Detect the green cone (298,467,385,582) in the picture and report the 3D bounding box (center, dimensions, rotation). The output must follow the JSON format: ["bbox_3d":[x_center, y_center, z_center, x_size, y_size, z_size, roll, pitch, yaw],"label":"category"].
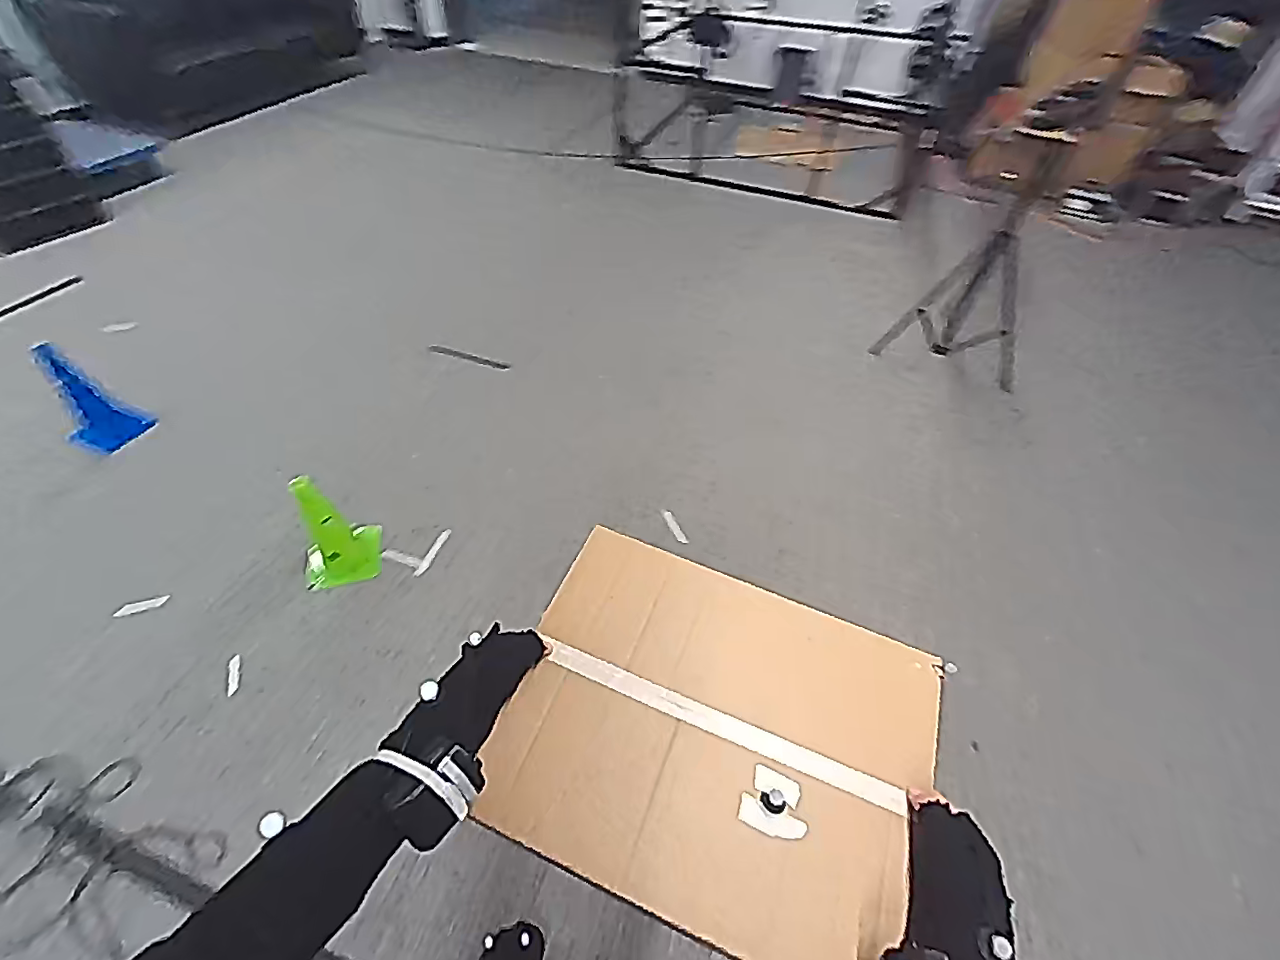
[{"bbox_3d":[-0.898,0.105,1.571,0.200,0.368,0.202,-10,49,-14],"label":"green cone"}]

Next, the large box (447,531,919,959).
[{"bbox_3d":[0.053,0.322,0.647,0.408,0.320,0.320,20,54,10],"label":"large box"}]

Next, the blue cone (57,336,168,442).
[{"bbox_3d":[-1.894,-0.327,1.890,0.193,0.380,0.192,20,49,13],"label":"blue cone"}]
